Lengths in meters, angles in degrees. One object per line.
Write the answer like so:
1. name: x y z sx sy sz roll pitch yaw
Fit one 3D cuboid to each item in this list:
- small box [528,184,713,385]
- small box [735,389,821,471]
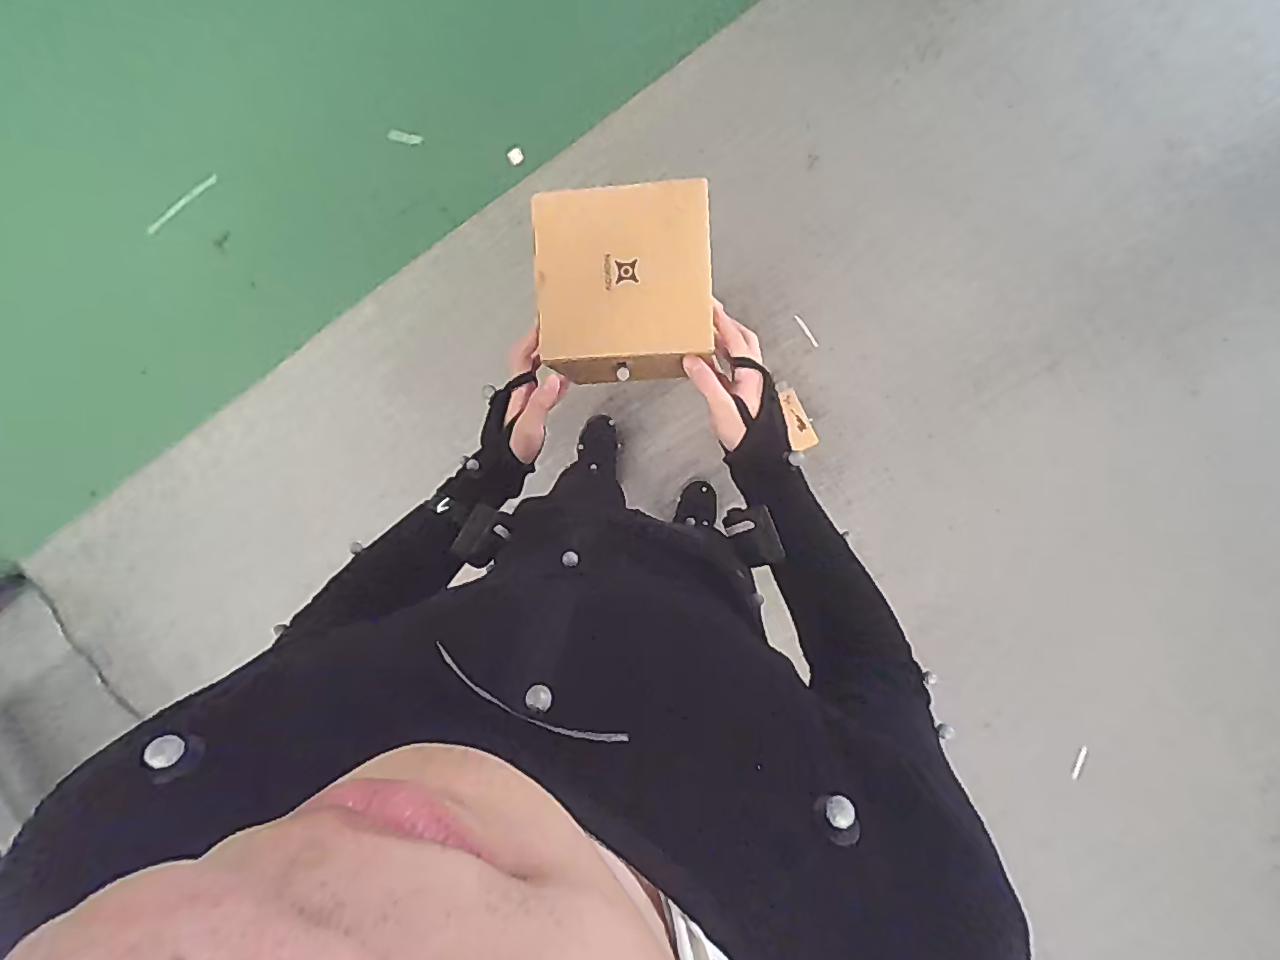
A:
1. small box: -0.013 -0.204 0.612 0.179 0.176 0.168 -4 93 7
2. small box: 0.376 -0.133 1.500 0.179 0.176 0.168 -26 88 9
